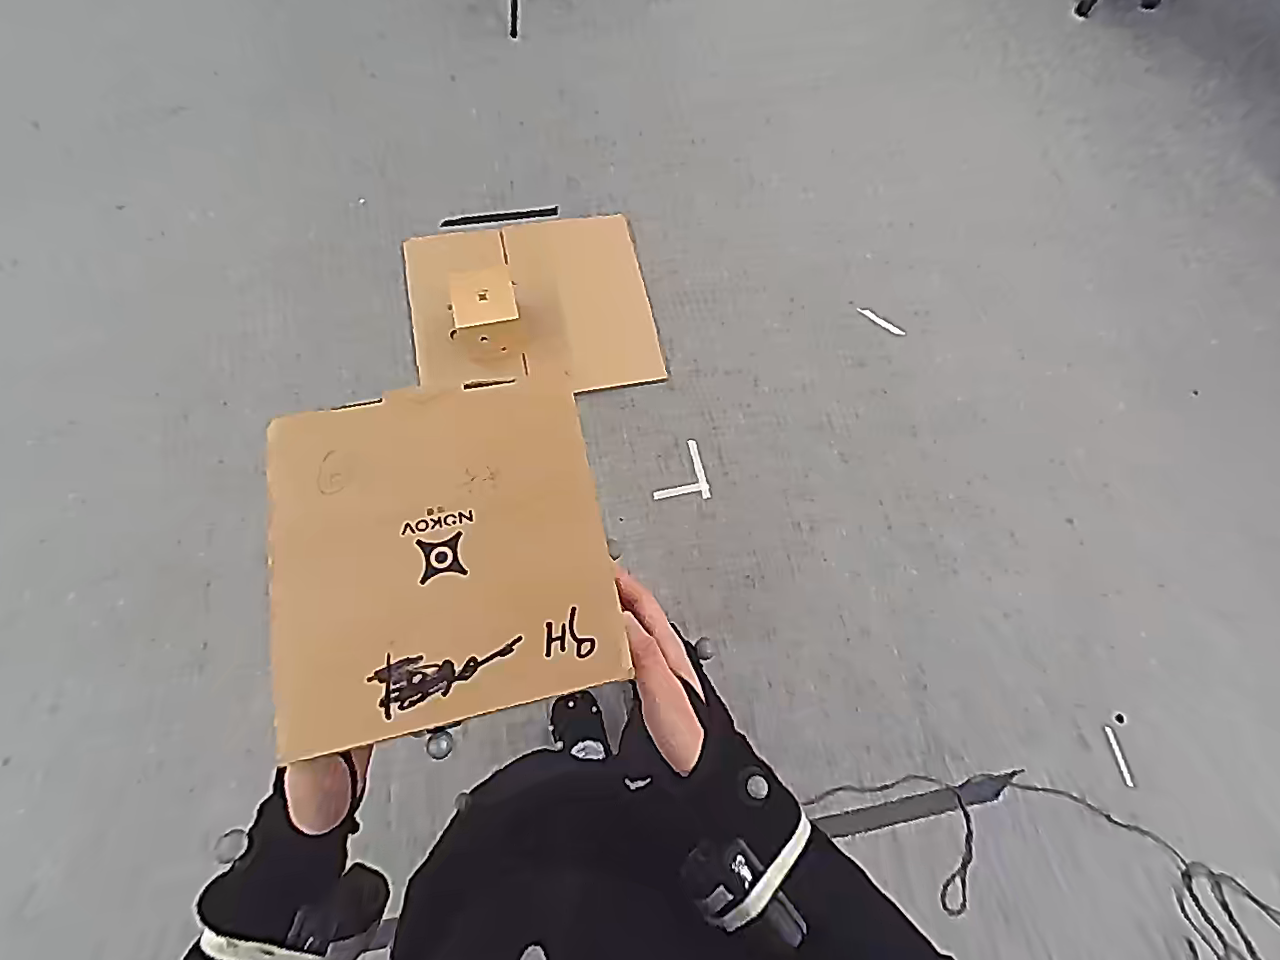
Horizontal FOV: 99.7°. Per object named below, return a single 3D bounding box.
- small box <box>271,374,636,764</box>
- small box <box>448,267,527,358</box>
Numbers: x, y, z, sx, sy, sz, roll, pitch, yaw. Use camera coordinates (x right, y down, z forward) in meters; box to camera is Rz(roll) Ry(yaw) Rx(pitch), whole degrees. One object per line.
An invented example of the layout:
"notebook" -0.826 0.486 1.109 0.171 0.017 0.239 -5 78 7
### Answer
"small box" -0.105 0.060 0.350 0.168 0.176 0.179 -12 71 -8
"small box" -0.417 -0.455 1.502 0.168 0.176 0.179 -13 74 -9
